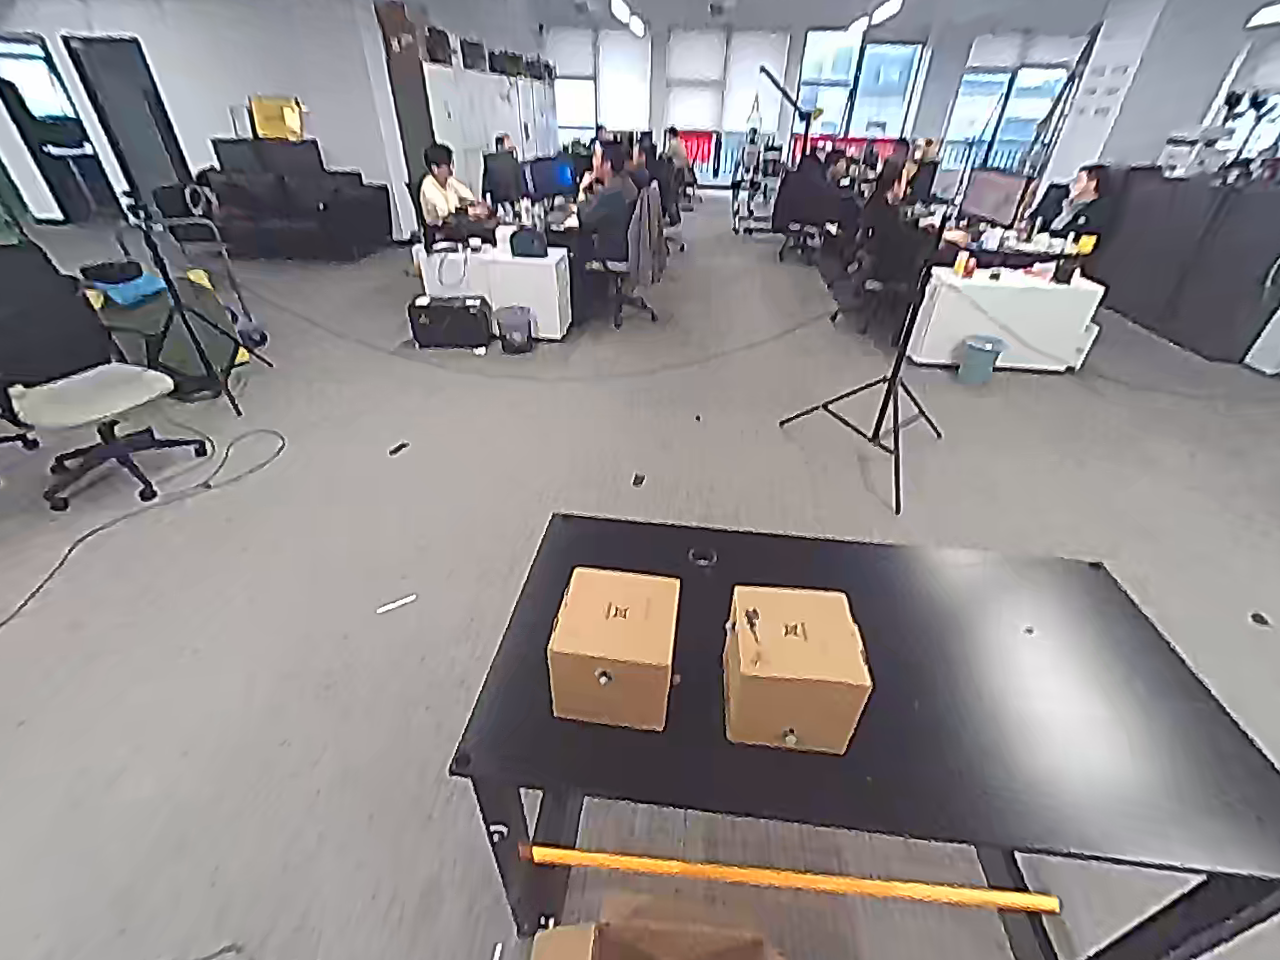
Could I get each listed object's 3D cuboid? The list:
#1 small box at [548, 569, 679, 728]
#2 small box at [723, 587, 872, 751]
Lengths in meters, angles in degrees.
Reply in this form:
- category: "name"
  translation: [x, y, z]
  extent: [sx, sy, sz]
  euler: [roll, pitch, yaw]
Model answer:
- category: "small box"
  translation: [-0.035, 0.265, 0.852]
  extent: [0.179, 0.176, 0.168]
  euler: [6, 36, 5]
- category: "small box"
  translation: [0.226, 0.288, 0.828]
  extent: [0.179, 0.176, 0.168]
  euler: [5, 34, 3]
